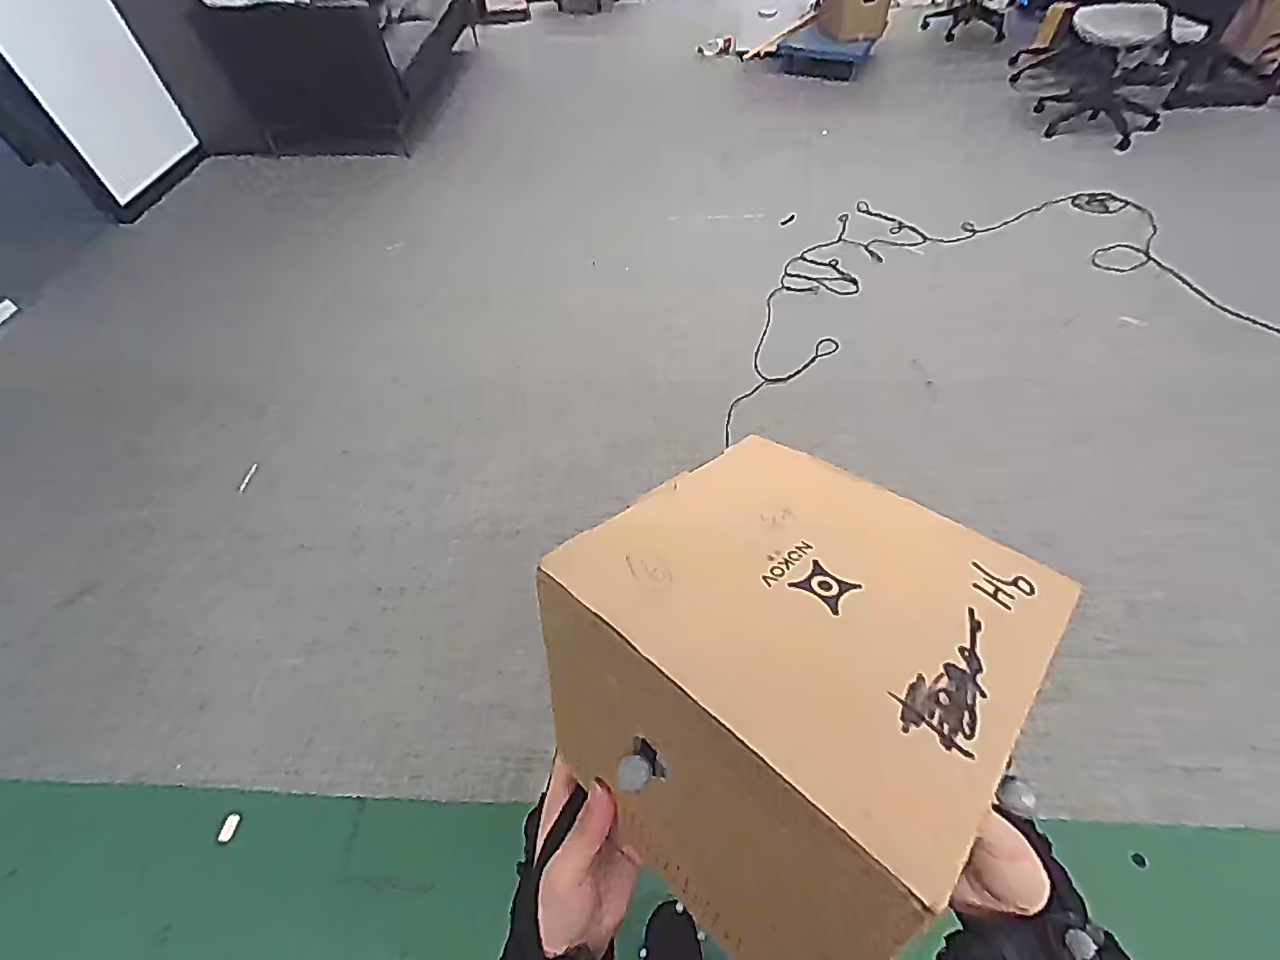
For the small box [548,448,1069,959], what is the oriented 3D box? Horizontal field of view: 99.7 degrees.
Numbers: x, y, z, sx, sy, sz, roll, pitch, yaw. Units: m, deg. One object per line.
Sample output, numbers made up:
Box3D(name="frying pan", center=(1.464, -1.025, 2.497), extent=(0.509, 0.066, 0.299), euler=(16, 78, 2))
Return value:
Box3D(name="small box", center=(0.072, 0.113, 0.288), extent=(0.179, 0.176, 0.168), euler=(30, 45, 34))
